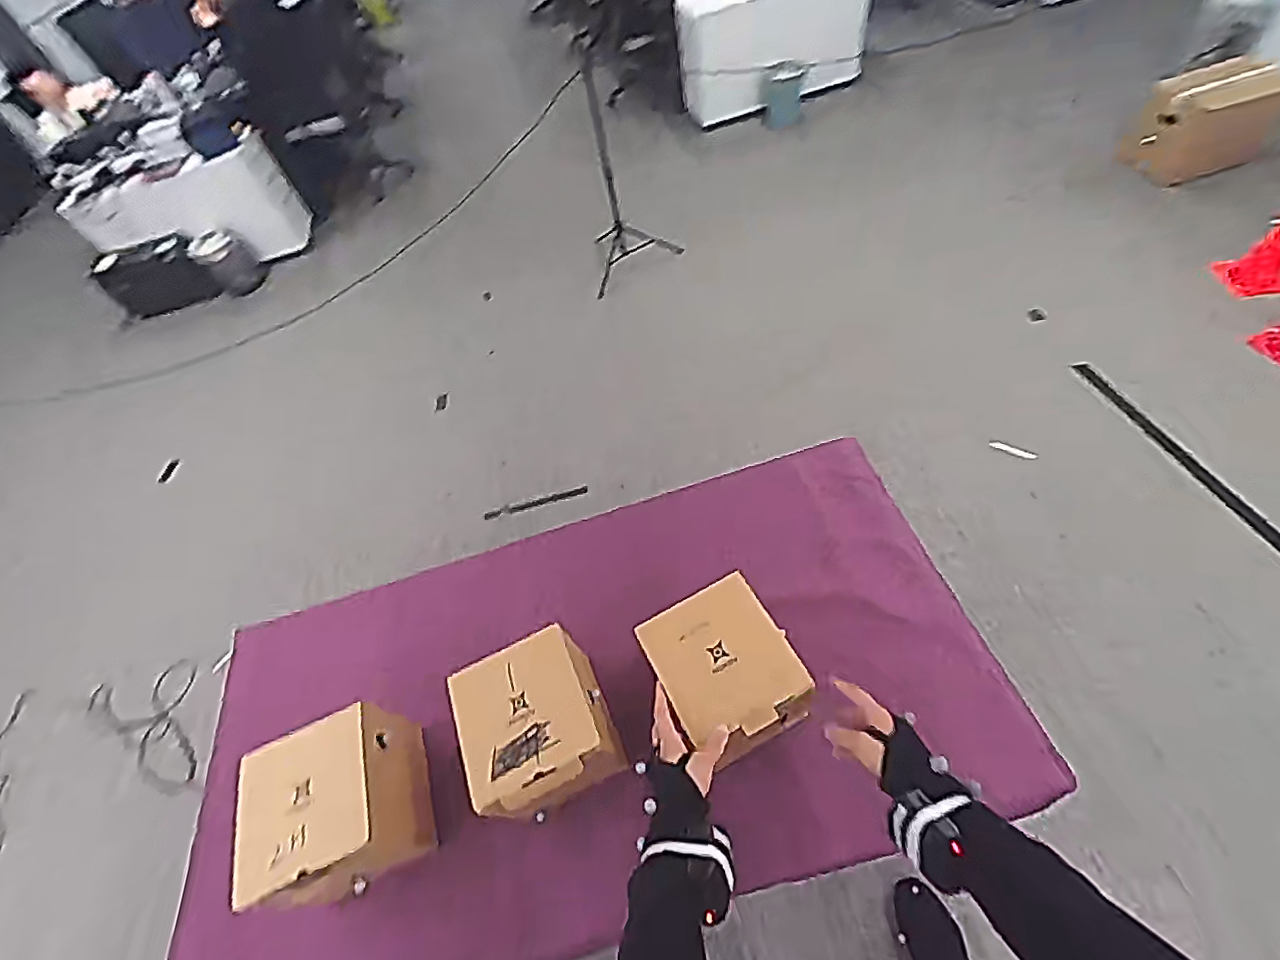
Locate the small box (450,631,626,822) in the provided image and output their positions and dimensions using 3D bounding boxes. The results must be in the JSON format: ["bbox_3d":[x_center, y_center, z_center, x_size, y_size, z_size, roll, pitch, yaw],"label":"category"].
[{"bbox_3d":[-0.135,0.347,0.751,0.168,0.176,0.179,-26,53,-7],"label":"small box"}]

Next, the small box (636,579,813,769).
[{"bbox_3d":[0.116,0.275,0.748,0.168,0.176,0.179,-27,53,-8],"label":"small box"}]

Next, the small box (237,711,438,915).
[{"bbox_3d":[-0.398,0.449,0.733,0.168,0.176,0.179,-25,53,-5],"label":"small box"}]
